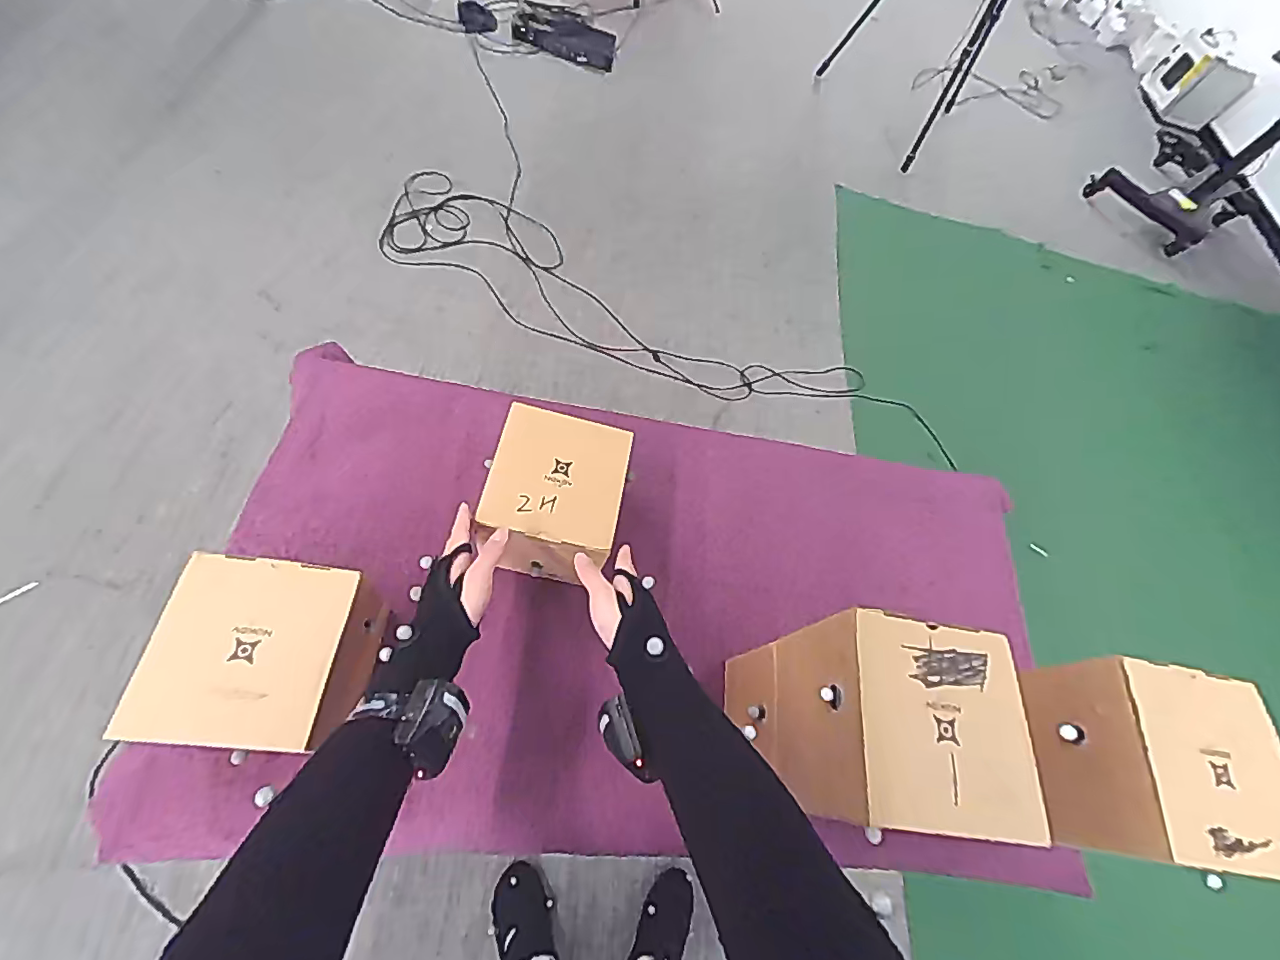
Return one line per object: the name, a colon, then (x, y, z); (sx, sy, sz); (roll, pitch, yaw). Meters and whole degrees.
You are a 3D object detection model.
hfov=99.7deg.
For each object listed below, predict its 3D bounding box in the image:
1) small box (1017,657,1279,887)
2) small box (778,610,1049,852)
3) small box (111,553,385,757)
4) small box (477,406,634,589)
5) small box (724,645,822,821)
small box: (0.522, 0.305, 0.573); (0.168, 0.176, 0.179); (13, 61, -6)
small box: (0.248, 0.248, 0.540); (0.168, 0.176, 0.179); (12, 61, -7)
small box: (-0.396, 0.199, 0.593); (0.168, 0.176, 0.179); (9, 62, -9)
small box: (-0.116, 0.031, 0.744); (0.168, 0.176, 0.179); (14, 62, -6)
small box: (0.212, 0.323, 0.682); (0.168, 0.176, 0.179); (11, 61, -8)
